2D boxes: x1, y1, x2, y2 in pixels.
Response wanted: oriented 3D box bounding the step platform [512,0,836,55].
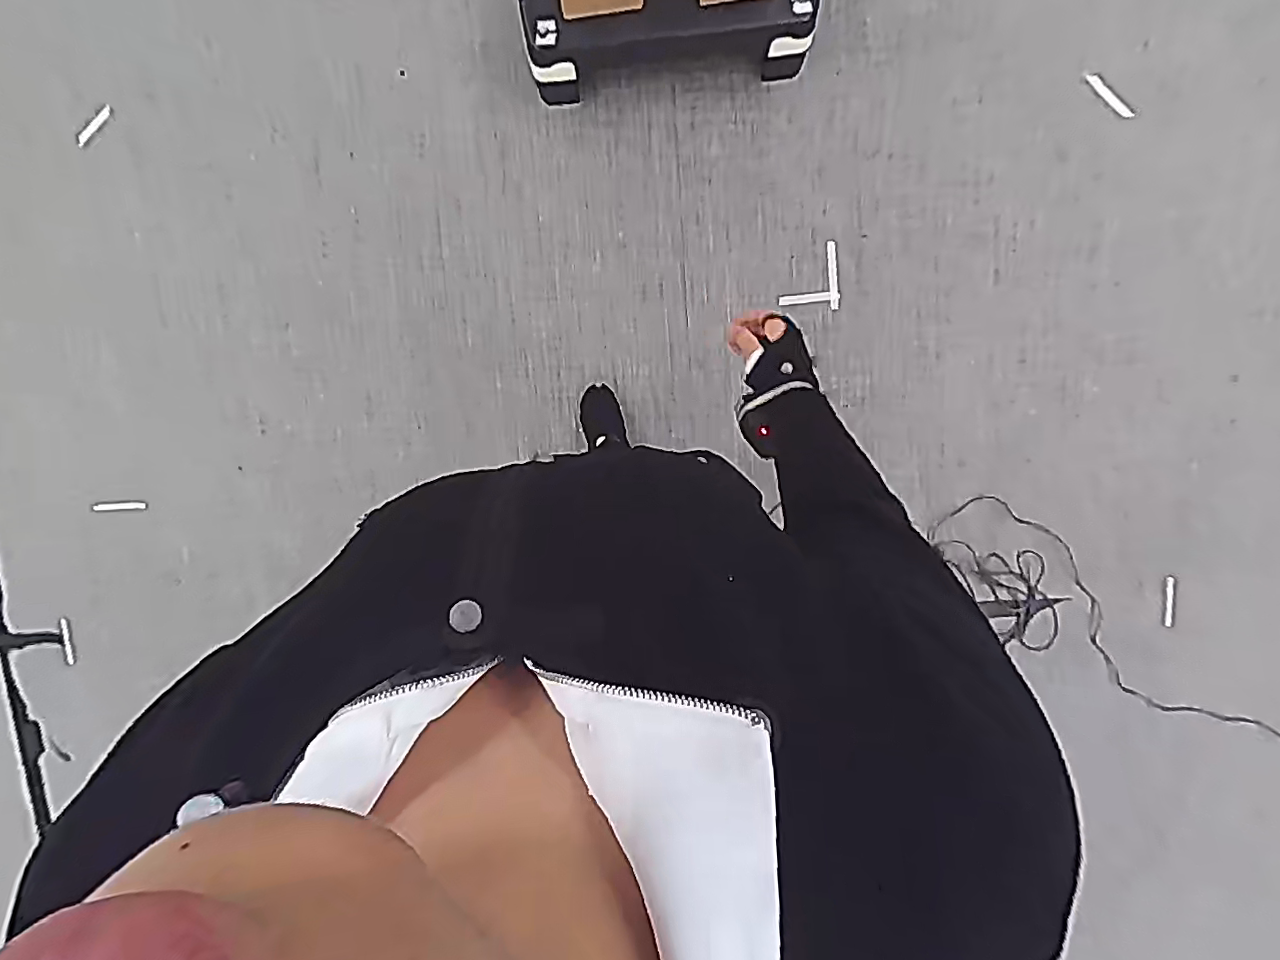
[{"bbox_3d":[0.069,-1.070,1.062,0.684,0.204,0.286,-5,96,1],"label":"step platform"}]
